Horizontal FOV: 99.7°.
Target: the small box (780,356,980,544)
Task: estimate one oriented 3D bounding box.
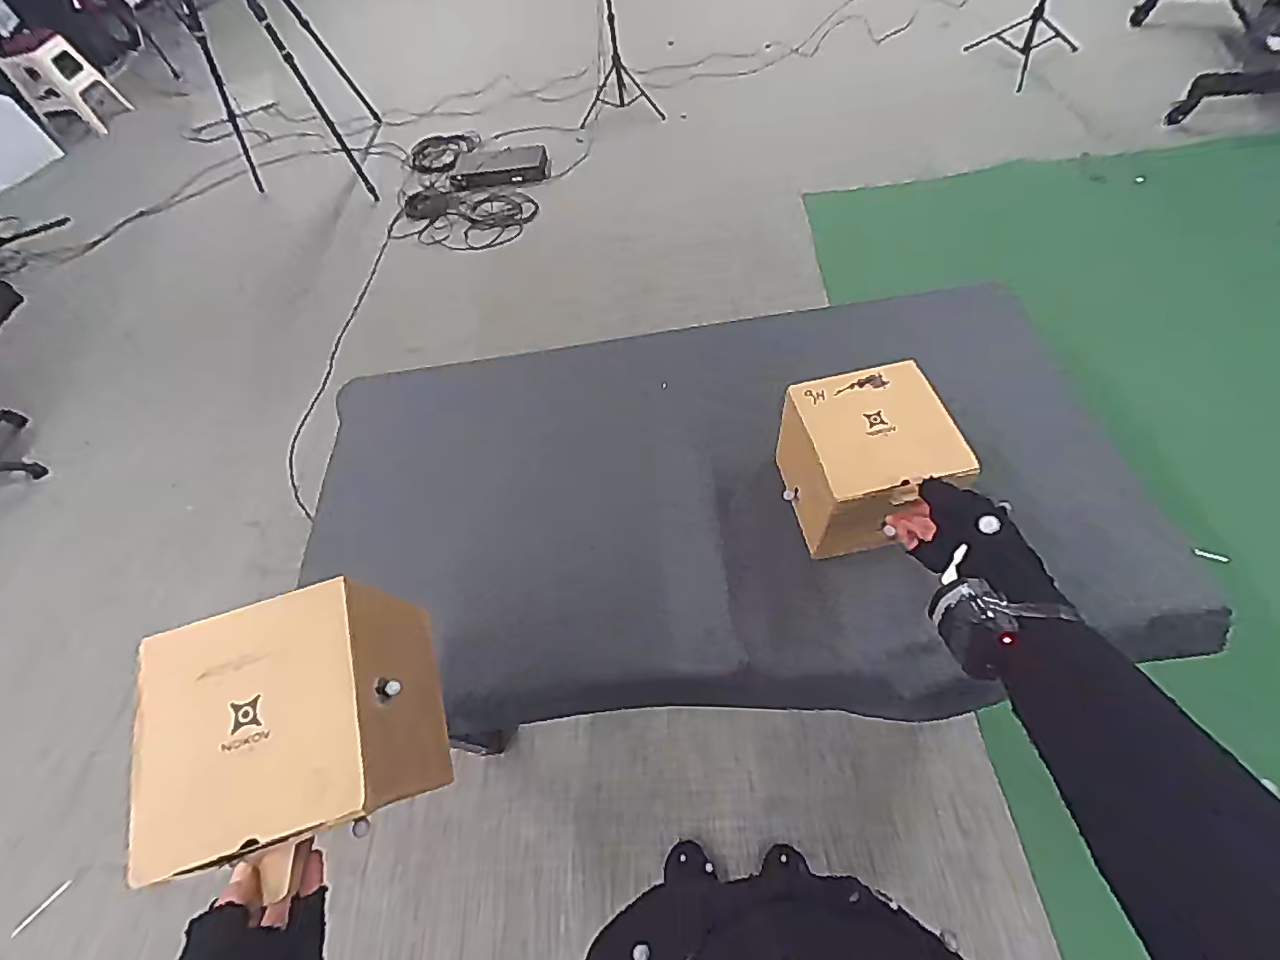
[{"bbox_3d":[0.293,-0.029,0.706,0.168,0.176,0.179,-11,59,0],"label":"small box"}]

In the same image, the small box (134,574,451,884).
[{"bbox_3d":[-0.282,0.203,0.473,0.168,0.176,0.179,-17,67,-5],"label":"small box"}]
